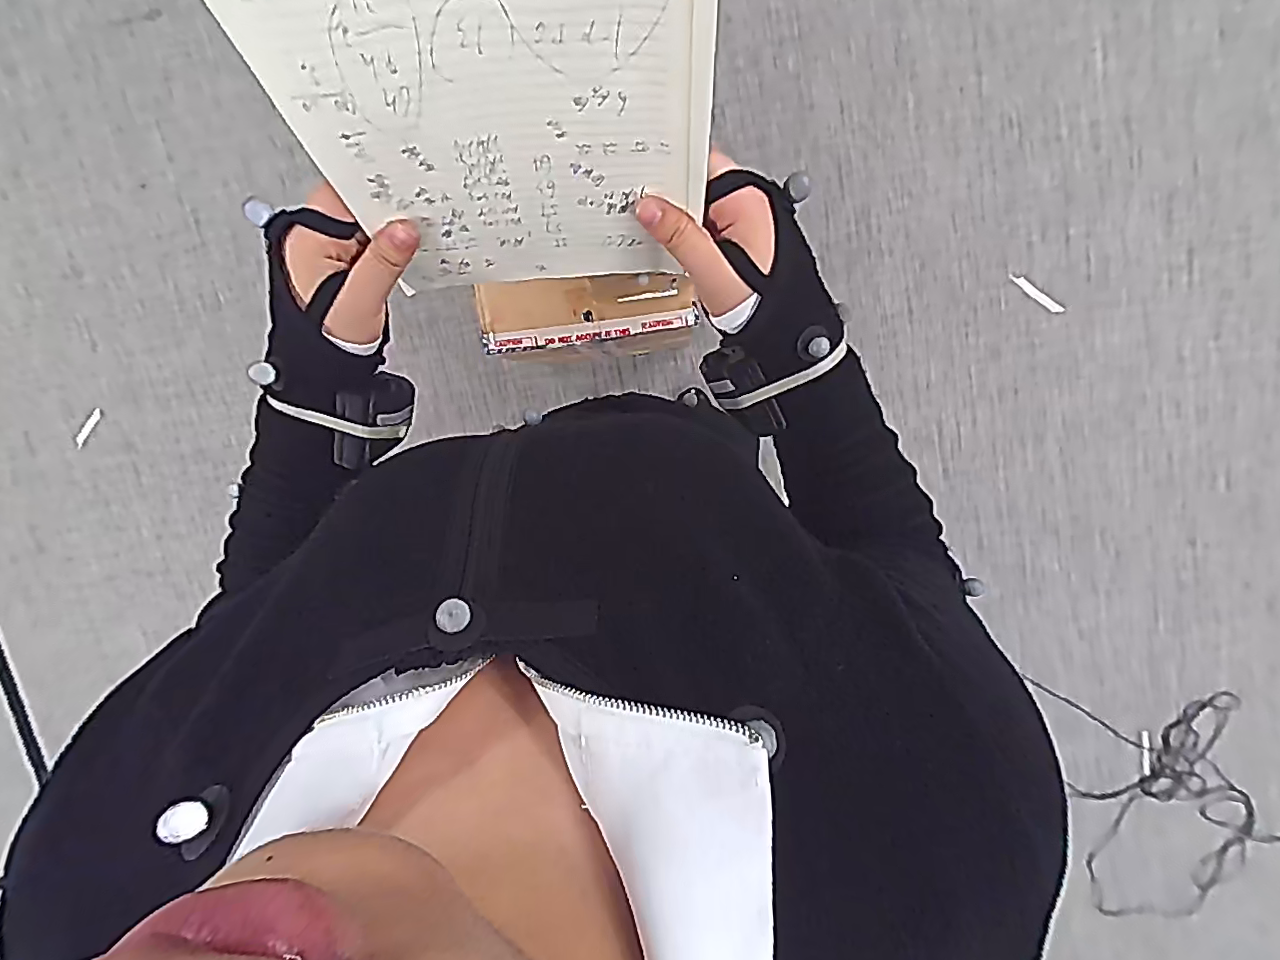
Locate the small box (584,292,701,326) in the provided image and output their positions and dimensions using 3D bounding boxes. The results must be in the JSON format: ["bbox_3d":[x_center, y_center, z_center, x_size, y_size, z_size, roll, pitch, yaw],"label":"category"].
[{"bbox_3d":[-0.008,-0.354,0.870,0.179,0.176,0.168,-11,99,3],"label":"small box"}]

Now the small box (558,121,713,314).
[{"bbox_3d":[-0.006,-0.327,0.708,0.168,0.176,0.179,-8,100,1],"label":"small box"}]
